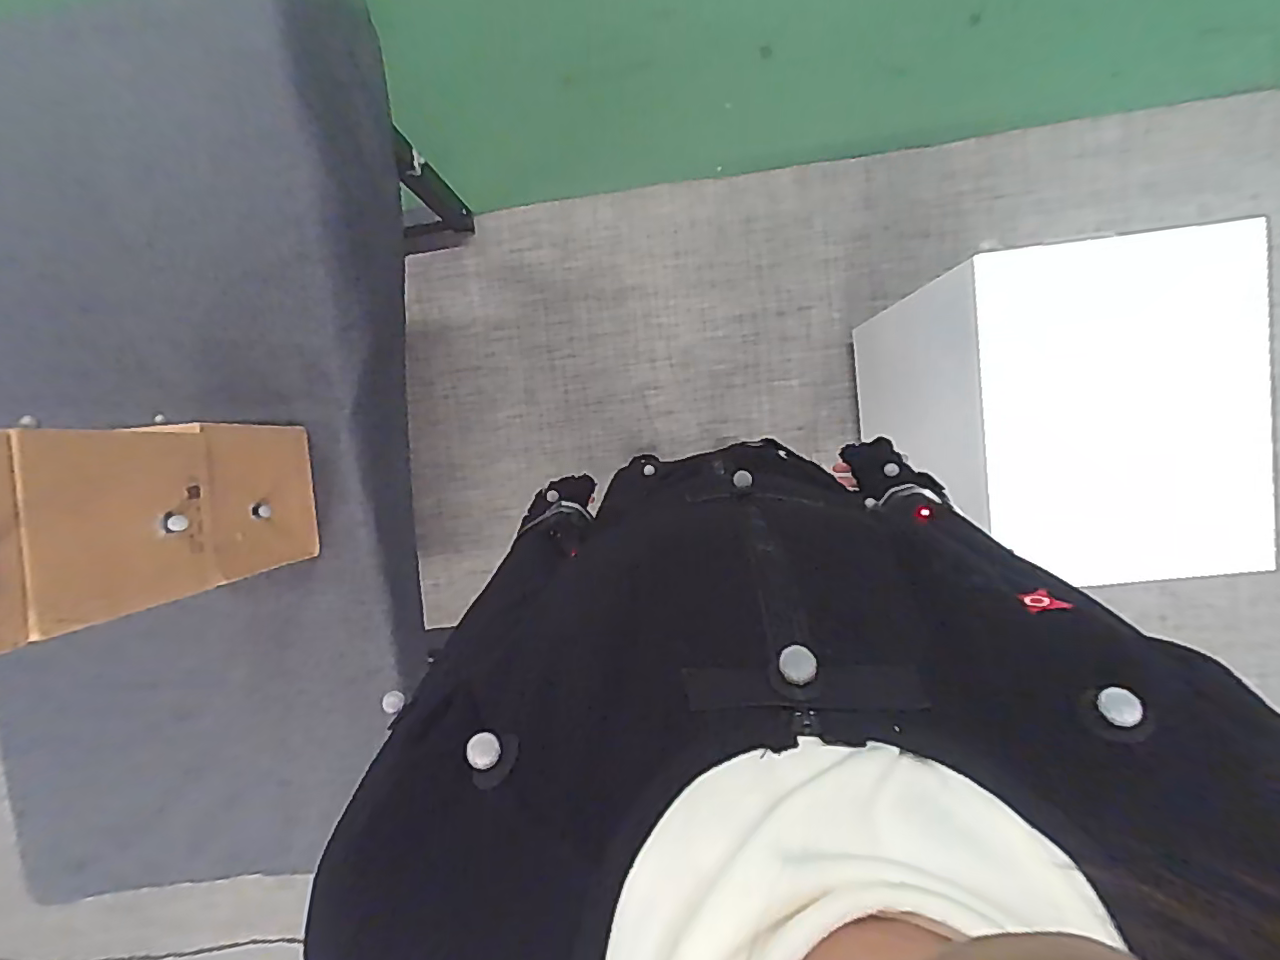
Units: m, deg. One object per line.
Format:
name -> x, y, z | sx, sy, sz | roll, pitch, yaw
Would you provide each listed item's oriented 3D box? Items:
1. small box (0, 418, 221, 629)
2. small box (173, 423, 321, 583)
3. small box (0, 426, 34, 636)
small box -> -0.547, 0.034, 0.506 | 0.179, 0.176, 0.168 | -4, 94, 7
small box -> -0.528, 0.021, 0.669 | 0.168, 0.176, 0.179 | -4, 95, 5
small box -> -0.563, 0.047, 0.346 | 0.179, 0.176, 0.168 | -1, 96, 4
